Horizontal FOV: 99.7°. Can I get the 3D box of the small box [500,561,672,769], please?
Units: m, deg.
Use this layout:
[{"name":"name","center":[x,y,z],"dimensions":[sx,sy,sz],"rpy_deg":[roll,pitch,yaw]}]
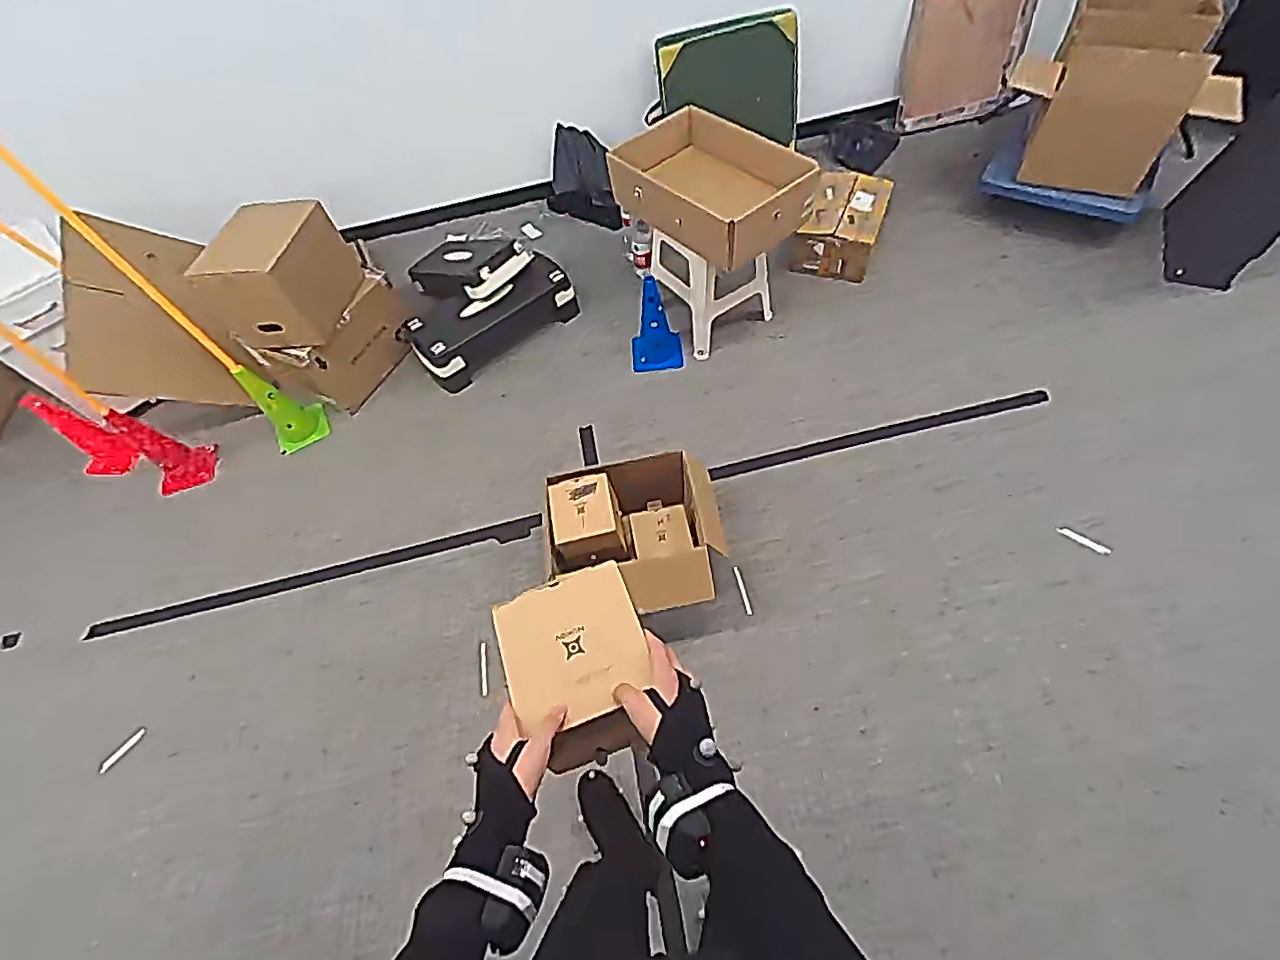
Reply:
[{"name":"small box","center":[-0.066,0.239,0.696],"dimensions":[0.168,0.176,0.179],"rpy_deg":[-19,51,-7]}]
